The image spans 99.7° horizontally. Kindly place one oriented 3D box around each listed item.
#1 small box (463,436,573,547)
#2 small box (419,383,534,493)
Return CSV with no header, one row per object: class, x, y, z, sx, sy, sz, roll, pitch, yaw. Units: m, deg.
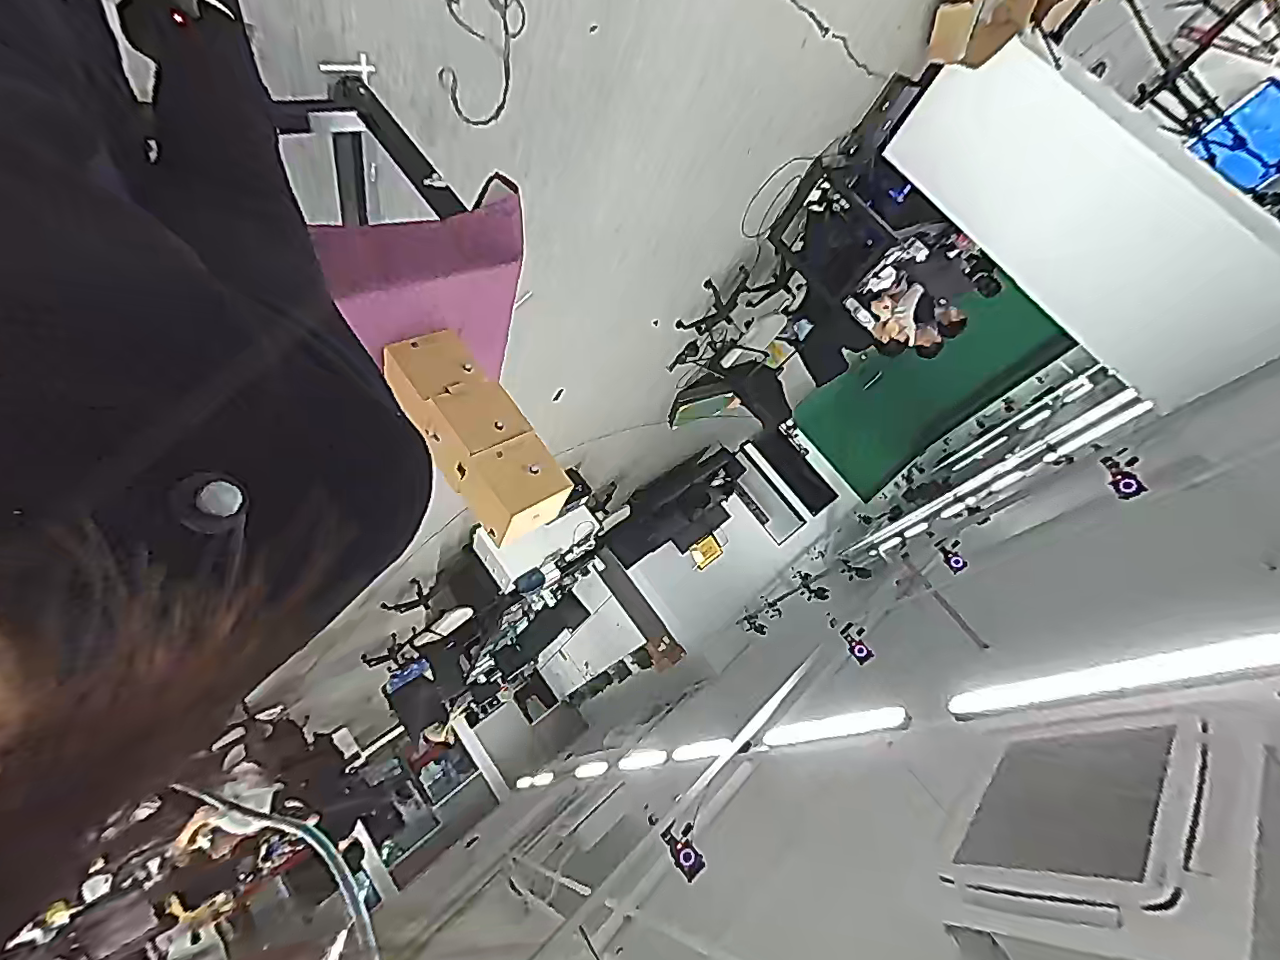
small box,-0.284,0.018,1.233,0.168,0.176,0.179,-30,167,-36
small box,-0.385,-0.105,1.268,0.179,0.176,0.168,-28,164,-42
